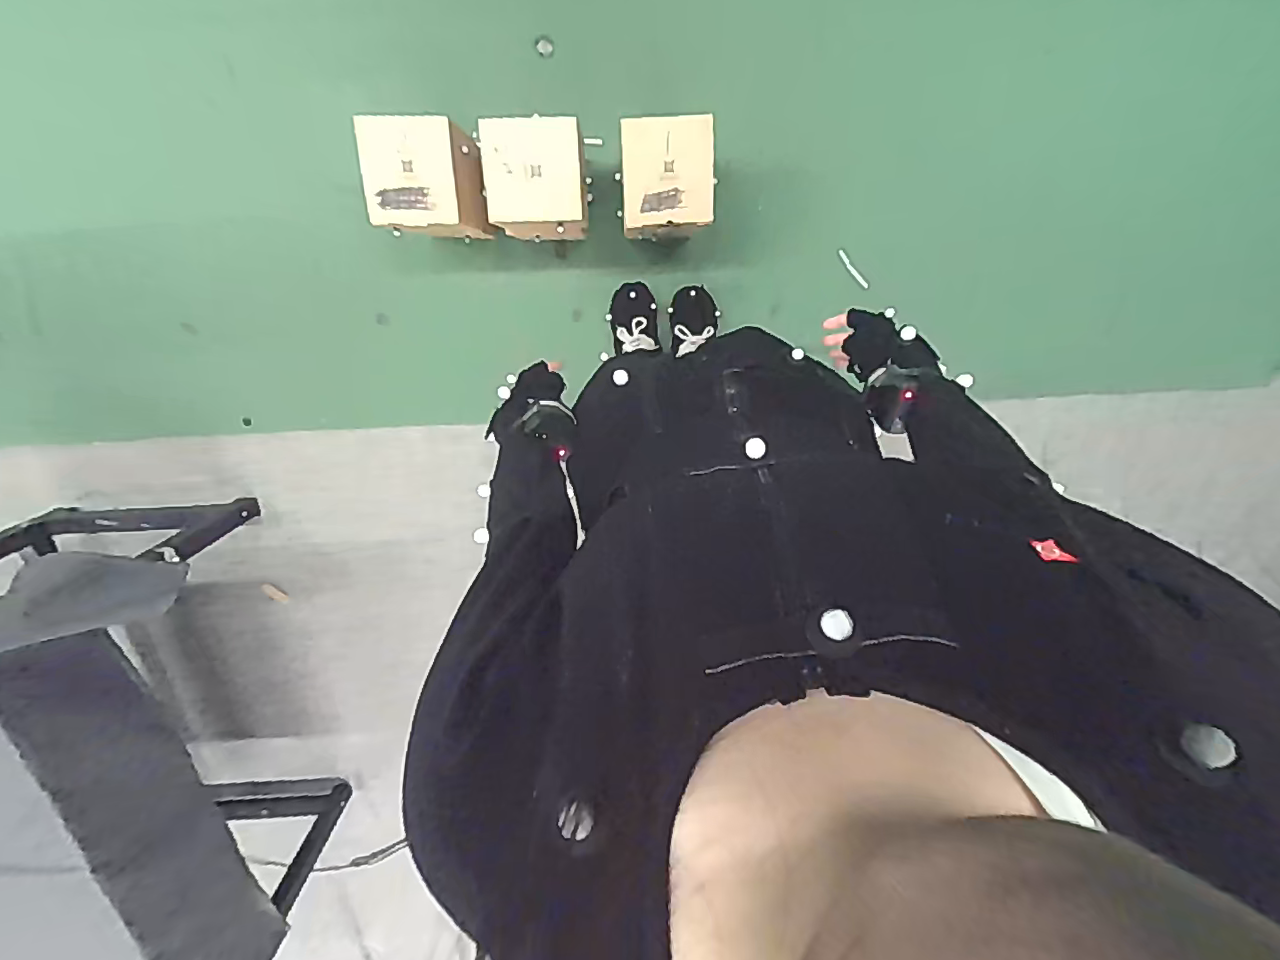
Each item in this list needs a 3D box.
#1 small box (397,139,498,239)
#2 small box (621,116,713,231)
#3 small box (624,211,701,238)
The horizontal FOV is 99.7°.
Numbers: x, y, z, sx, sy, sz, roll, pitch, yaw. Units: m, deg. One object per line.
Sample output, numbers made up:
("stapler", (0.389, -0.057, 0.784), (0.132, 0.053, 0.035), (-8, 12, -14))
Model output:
("small box", (-0.419, -0.639, 1.207), (0.168, 0.176, 0.179), (2, 111, -1))
("small box", (0.050, -0.587, 1.056), (0.168, 0.176, 0.179), (-3, 111, 0))
("small box", (0.047, -0.646, 1.210), (0.168, 0.176, 0.179), (-2, 111, 0))
